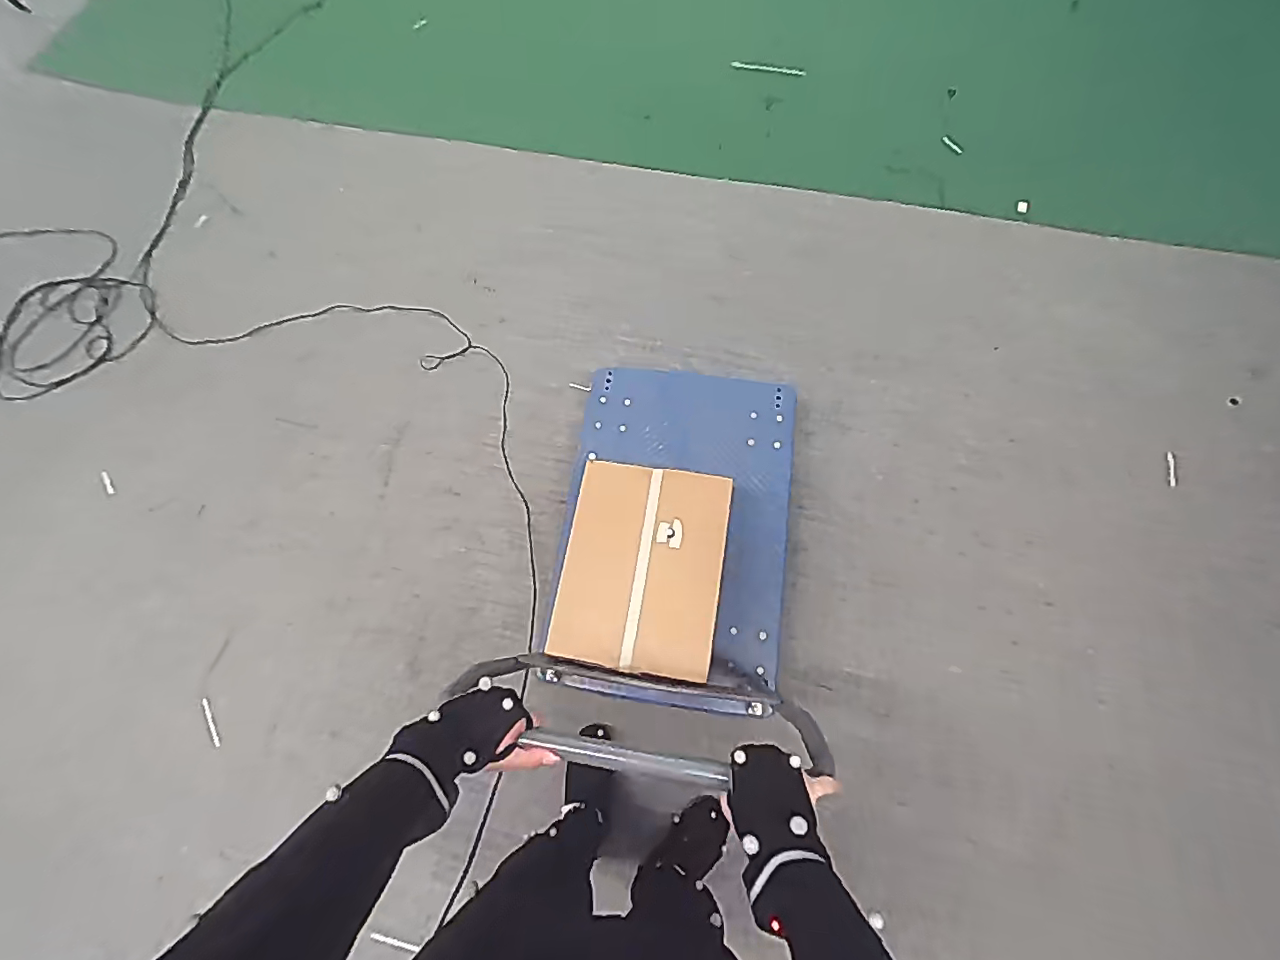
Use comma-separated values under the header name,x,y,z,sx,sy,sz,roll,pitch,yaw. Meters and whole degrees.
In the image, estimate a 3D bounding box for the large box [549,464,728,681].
name,x,y,z,sx,sy,sz,roll,pitch,yaw
large box,0.015,0.220,1.216,0.320,0.320,0.408,8,70,6
